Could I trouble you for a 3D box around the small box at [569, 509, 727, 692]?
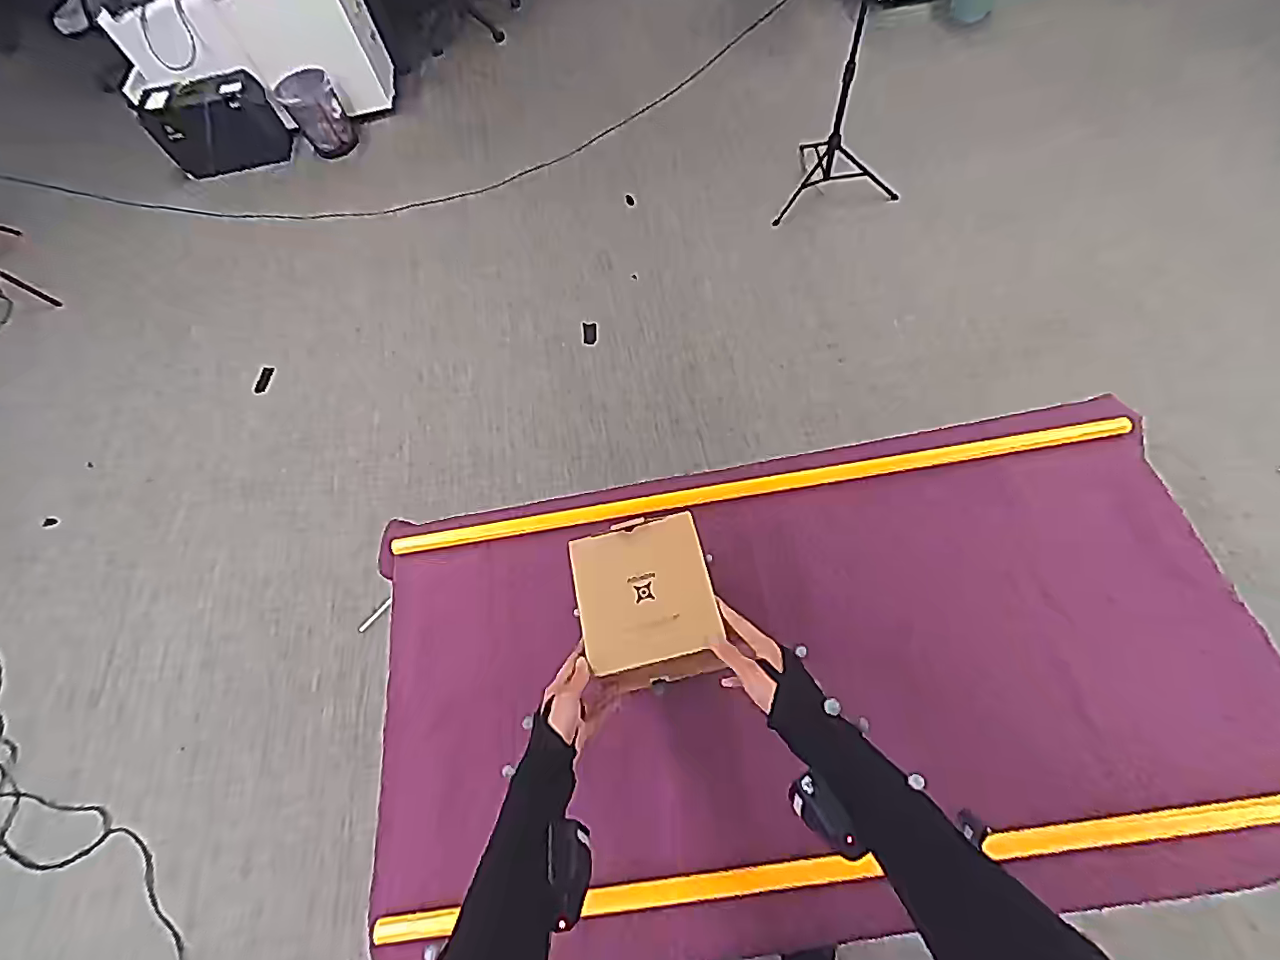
[{"bbox_3d":[0.014,0.167,0.725,0.168,0.176,0.179,-15,61,1],"label":"small box"}]
